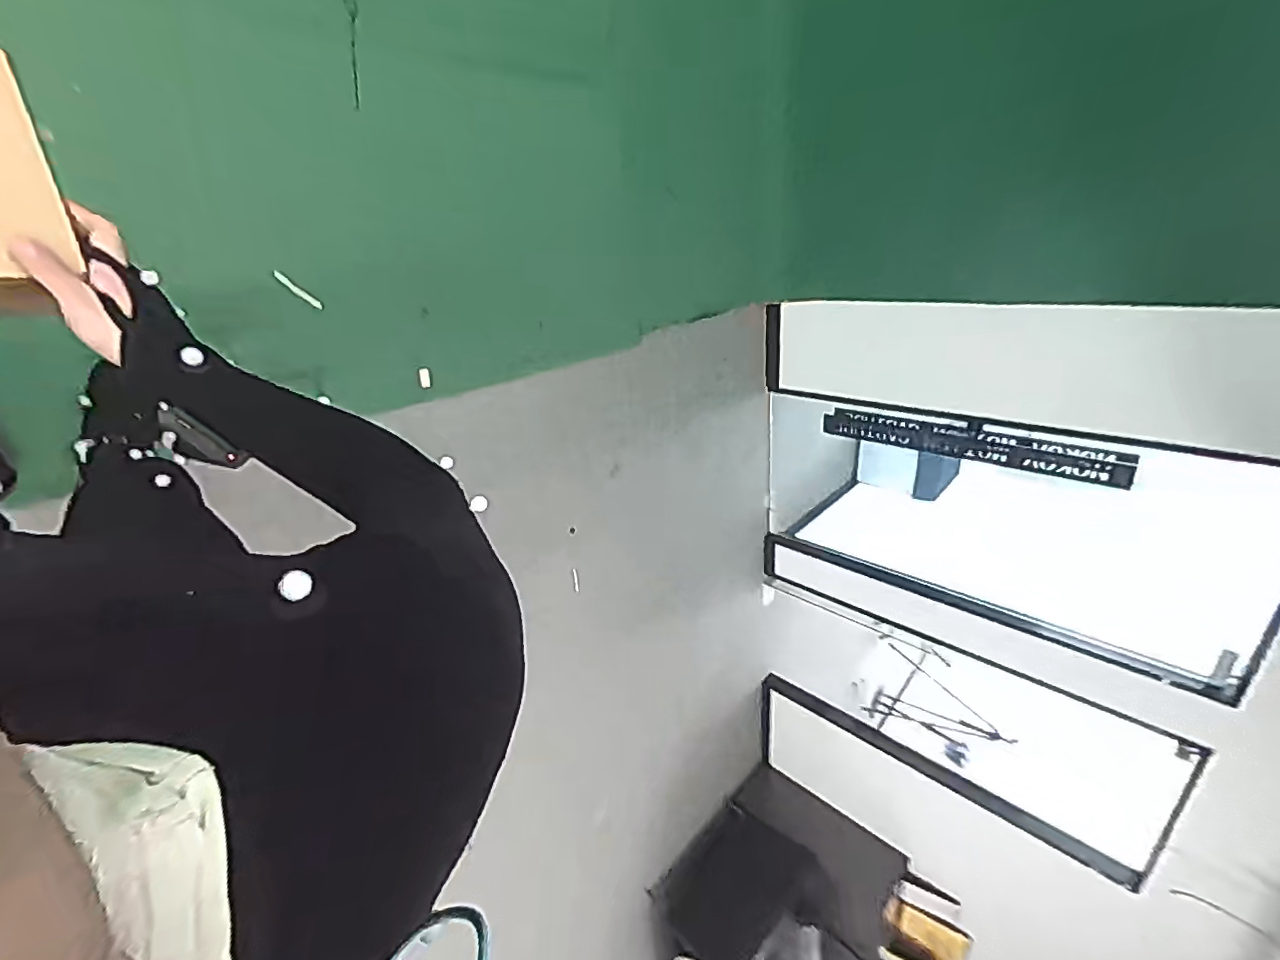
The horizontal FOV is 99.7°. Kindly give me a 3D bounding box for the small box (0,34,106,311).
[{"bbox_3d":[-0.579,-0.239,0.432,0.168,0.176,0.179,-25,110,-46],"label":"small box"}]
